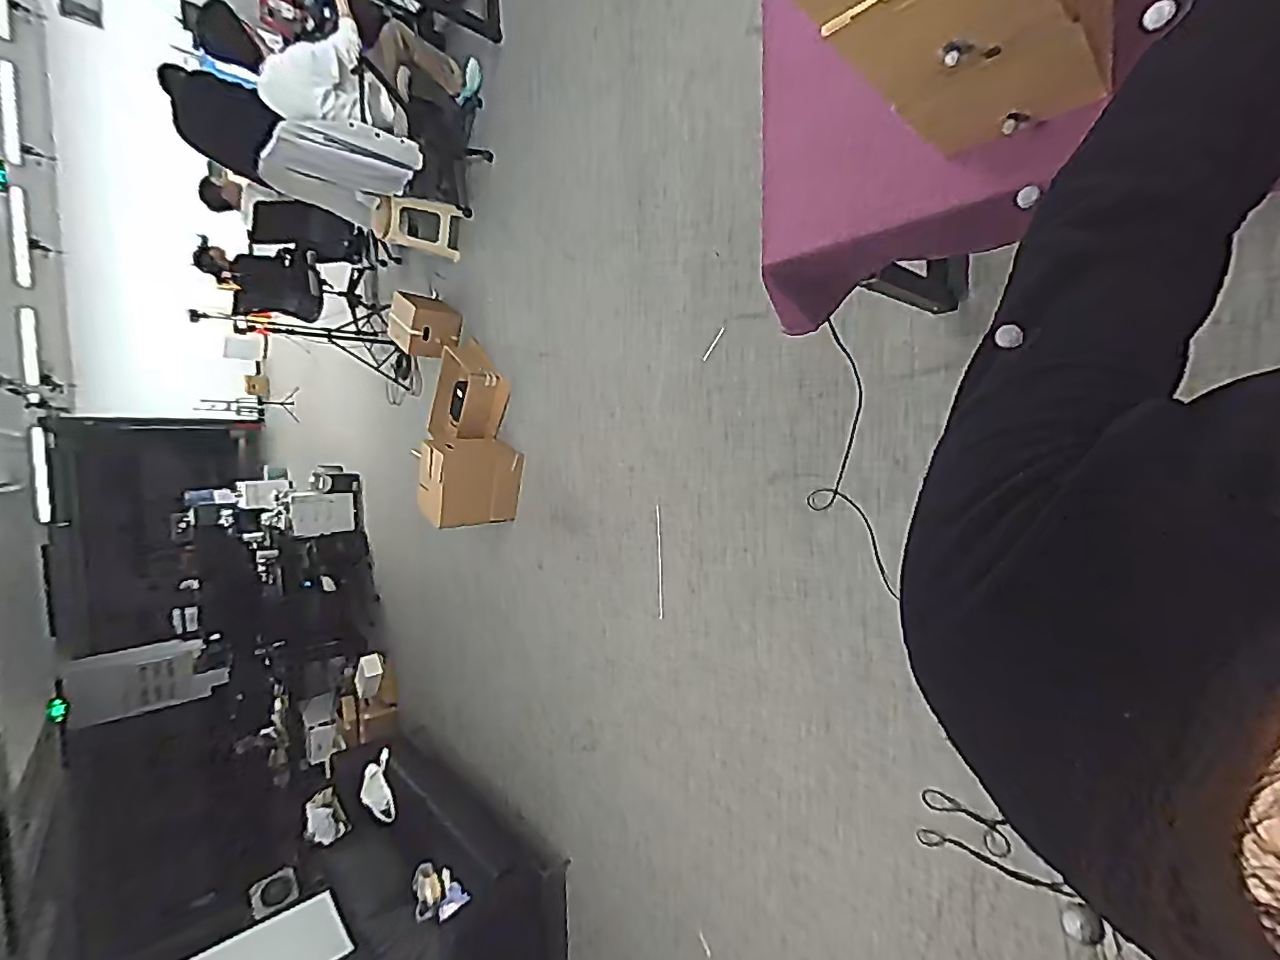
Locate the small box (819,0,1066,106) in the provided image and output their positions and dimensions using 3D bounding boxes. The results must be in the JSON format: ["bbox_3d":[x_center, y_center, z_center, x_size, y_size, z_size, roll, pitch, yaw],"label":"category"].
[{"bbox_3d":[0.289,-0.507,0.511,0.168,0.176,0.179,4,96,48],"label":"small box"}]

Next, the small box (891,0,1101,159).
[{"bbox_3d":[0.410,-0.511,0.623,0.179,0.176,0.168,1,93,47],"label":"small box"}]
